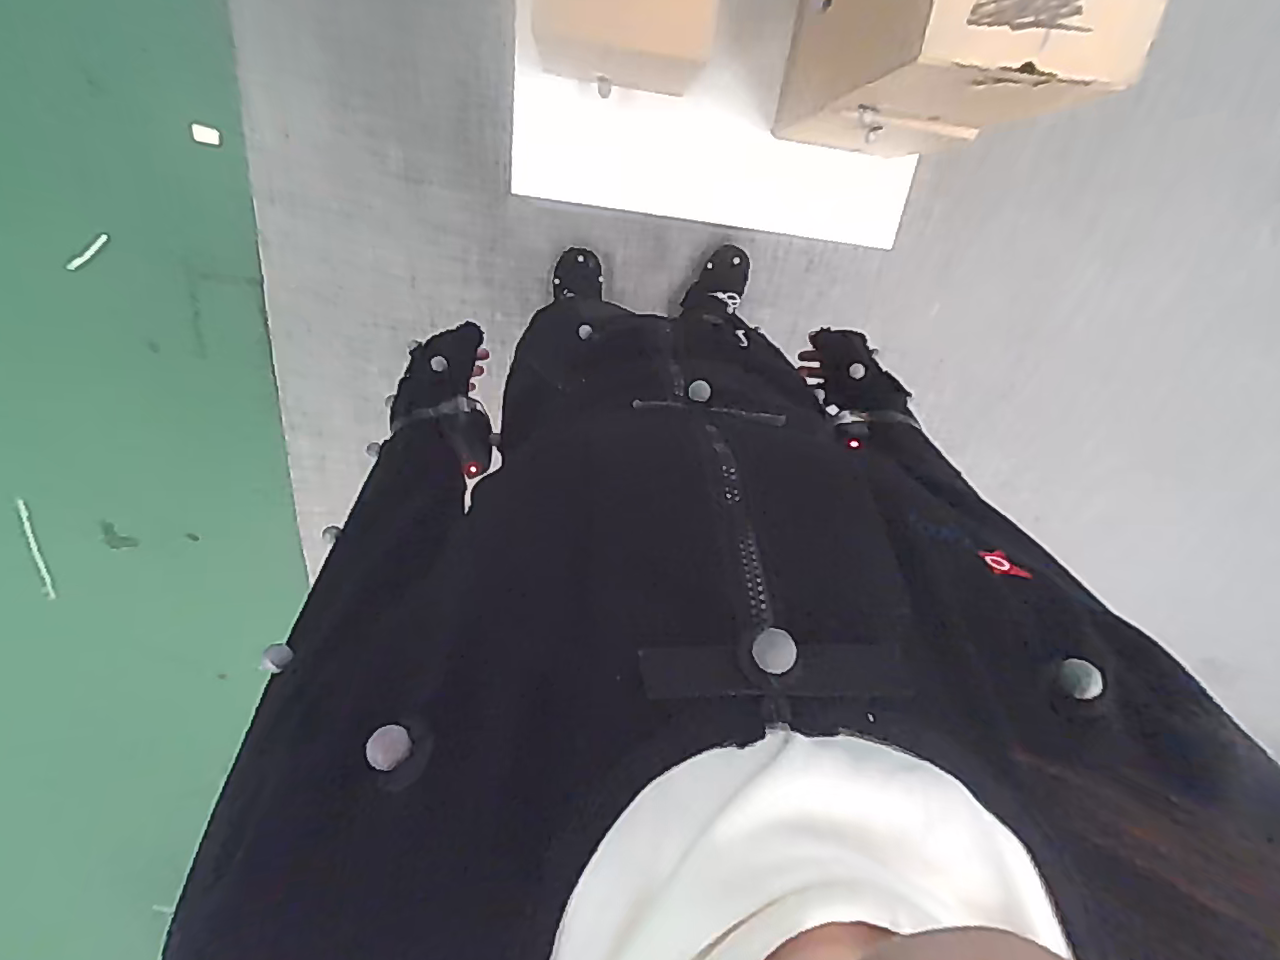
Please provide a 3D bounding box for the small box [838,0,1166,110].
[{"bbox_3d":[0.271,-0.401,0.408,0.168,0.176,0.179,3,115,-6],"label":"small box"}]

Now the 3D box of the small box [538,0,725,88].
[{"bbox_3d":[-0.007,-0.507,0.520,0.168,0.176,0.179,3,117,-6],"label":"small box"}]

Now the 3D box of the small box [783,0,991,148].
[{"bbox_3d":[0.264,-0.466,0.560,0.168,0.176,0.179,5,115,-6],"label":"small box"}]
